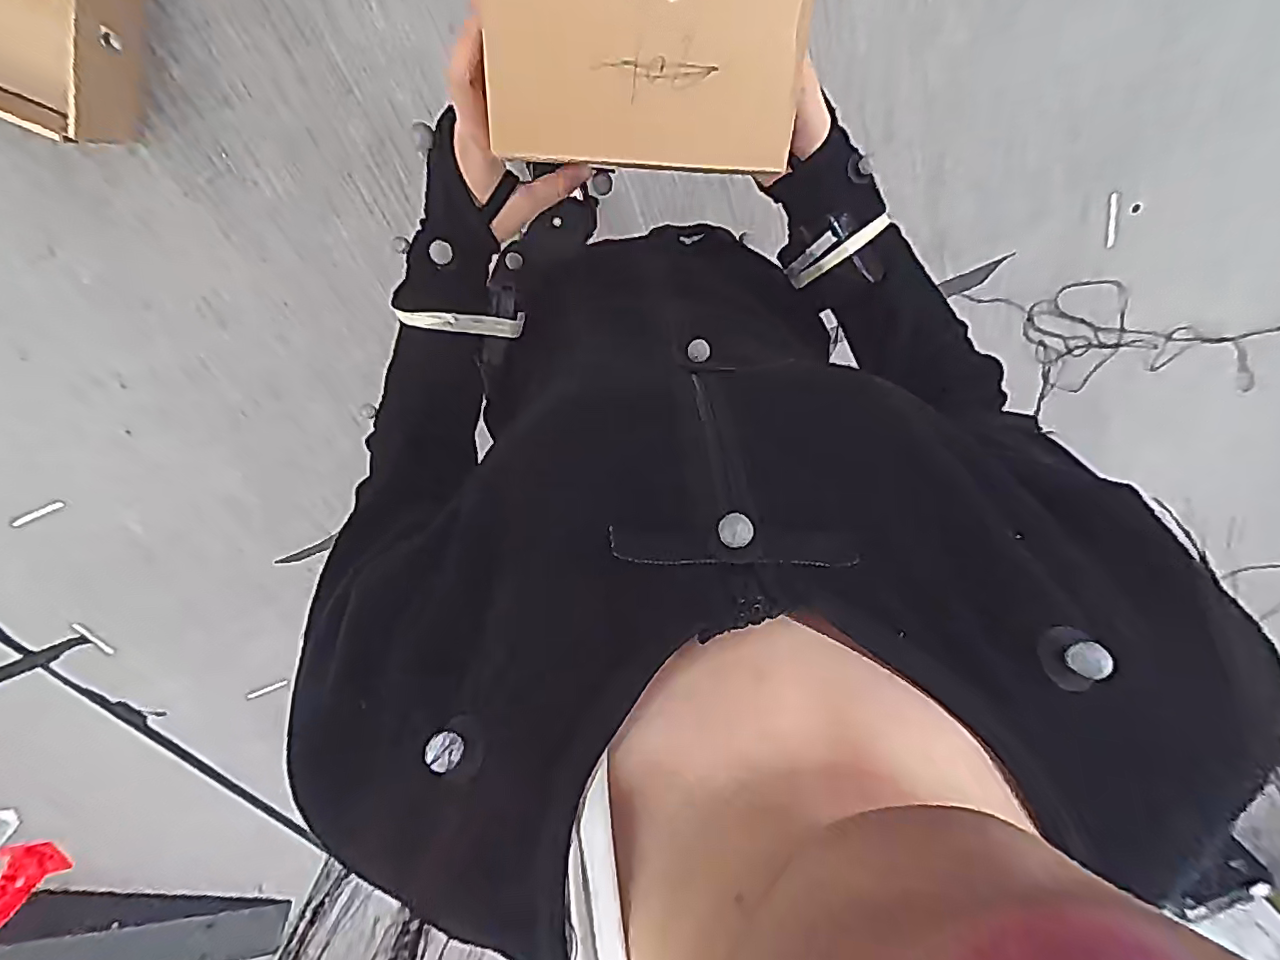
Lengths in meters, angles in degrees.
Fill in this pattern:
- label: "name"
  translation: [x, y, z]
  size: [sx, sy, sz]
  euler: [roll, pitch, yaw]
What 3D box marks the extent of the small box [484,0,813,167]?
- label: "small box"
  translation: [-0.005, -0.294, 0.322]
  size: [0.168, 0.176, 0.179]
  euler: [-1, 120, -9]
